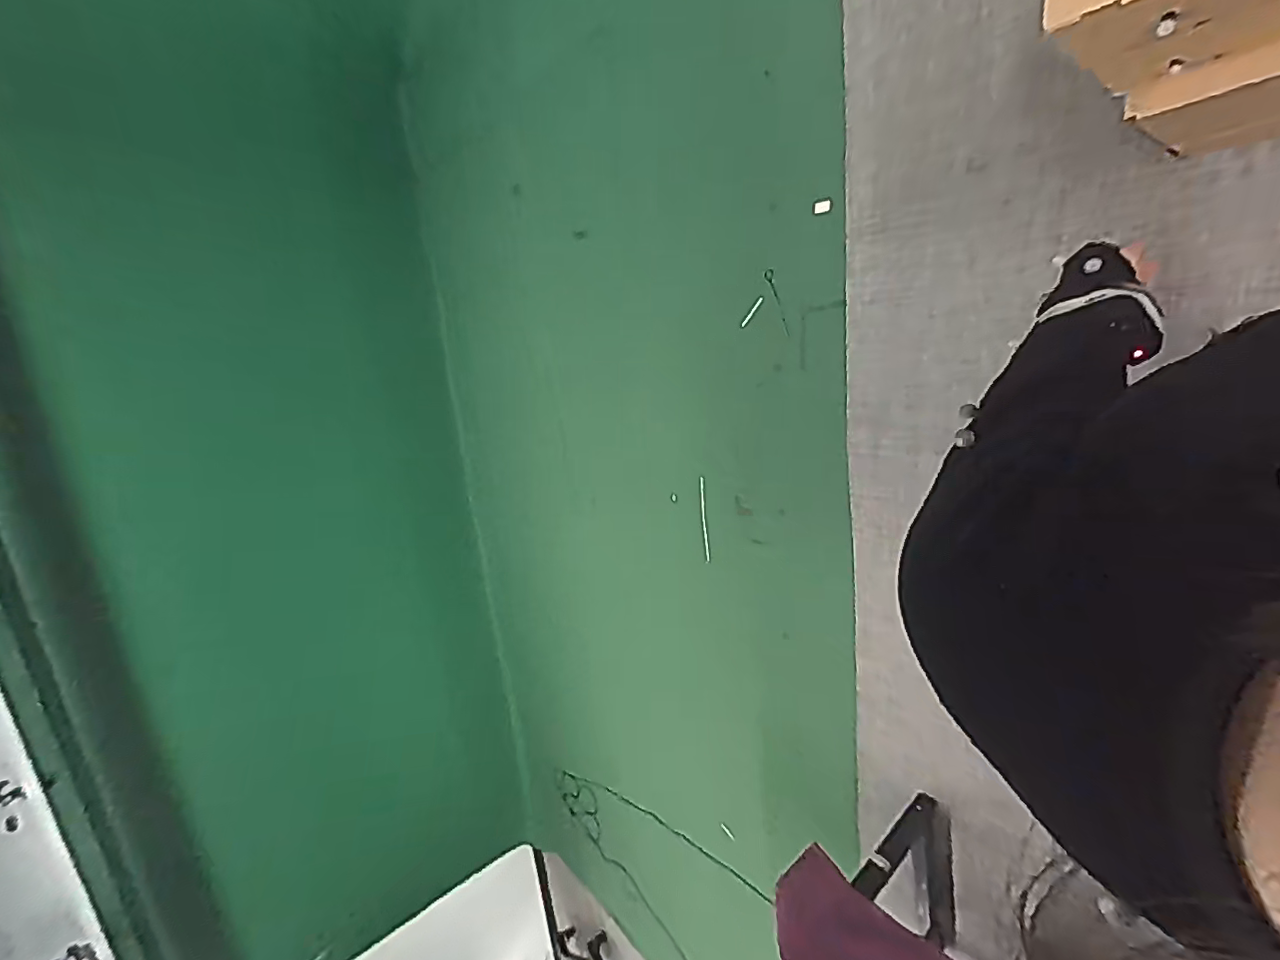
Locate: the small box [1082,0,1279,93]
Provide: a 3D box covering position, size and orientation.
[{"bbox_3d":[0.633,-0.584,0.616,0.168,0.176,0.179,10,112,49],"label":"small box"}]
